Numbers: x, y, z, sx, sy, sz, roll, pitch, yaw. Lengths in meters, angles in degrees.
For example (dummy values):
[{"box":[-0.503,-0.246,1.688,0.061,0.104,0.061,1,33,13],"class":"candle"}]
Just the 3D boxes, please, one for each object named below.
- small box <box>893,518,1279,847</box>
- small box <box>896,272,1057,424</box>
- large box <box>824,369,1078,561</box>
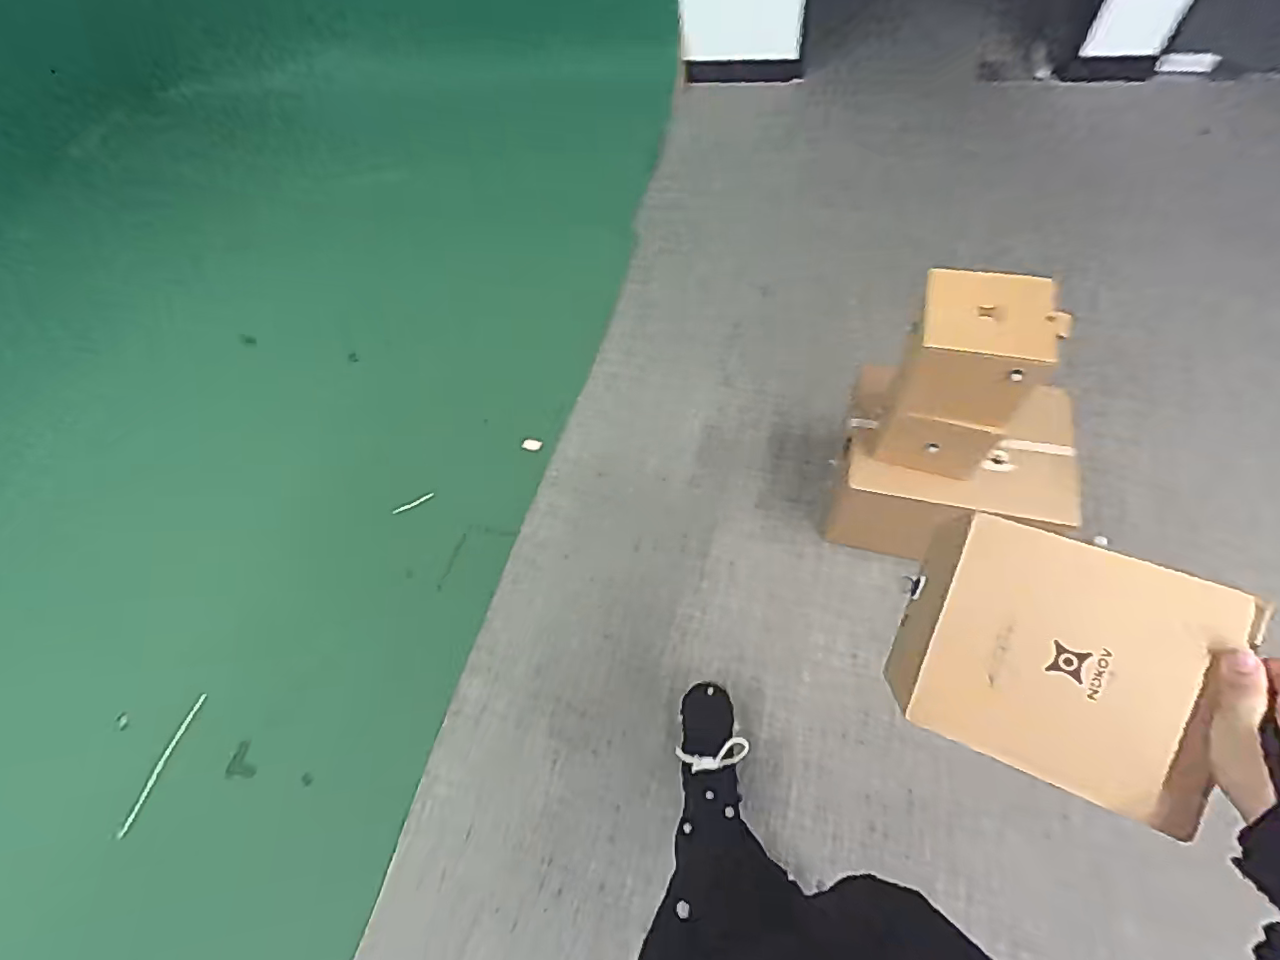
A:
[{"box":[0.329,0.139,0.443,0.179,0.176,0.168,20,88,22],"class":"small box"},{"box":[0.530,-0.208,0.874,0.179,0.176,0.168,11,65,14],"class":"small box"},{"box":[0.658,-0.013,1.216,0.408,0.320,0.320,11,66,12],"class":"large box"}]
